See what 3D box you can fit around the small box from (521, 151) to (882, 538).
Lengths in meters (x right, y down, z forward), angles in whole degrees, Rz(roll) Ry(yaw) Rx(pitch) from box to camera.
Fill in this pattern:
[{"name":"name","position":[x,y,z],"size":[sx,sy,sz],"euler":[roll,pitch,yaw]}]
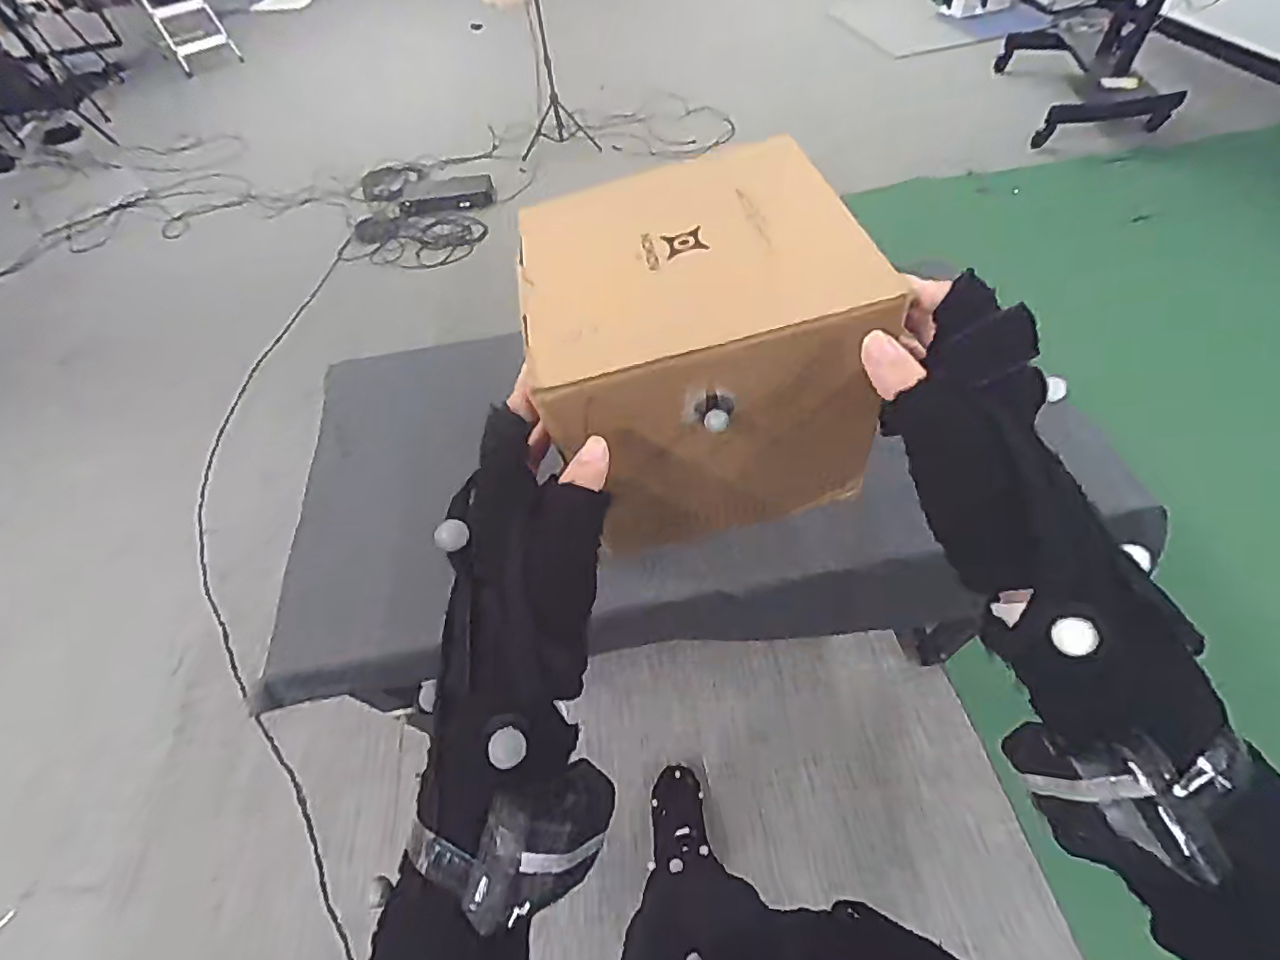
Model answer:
[{"name":"small box","position":[0.033,-0.080,0.366],"size":[0.179,0.176,0.168],"euler":[-14,54,2]}]
